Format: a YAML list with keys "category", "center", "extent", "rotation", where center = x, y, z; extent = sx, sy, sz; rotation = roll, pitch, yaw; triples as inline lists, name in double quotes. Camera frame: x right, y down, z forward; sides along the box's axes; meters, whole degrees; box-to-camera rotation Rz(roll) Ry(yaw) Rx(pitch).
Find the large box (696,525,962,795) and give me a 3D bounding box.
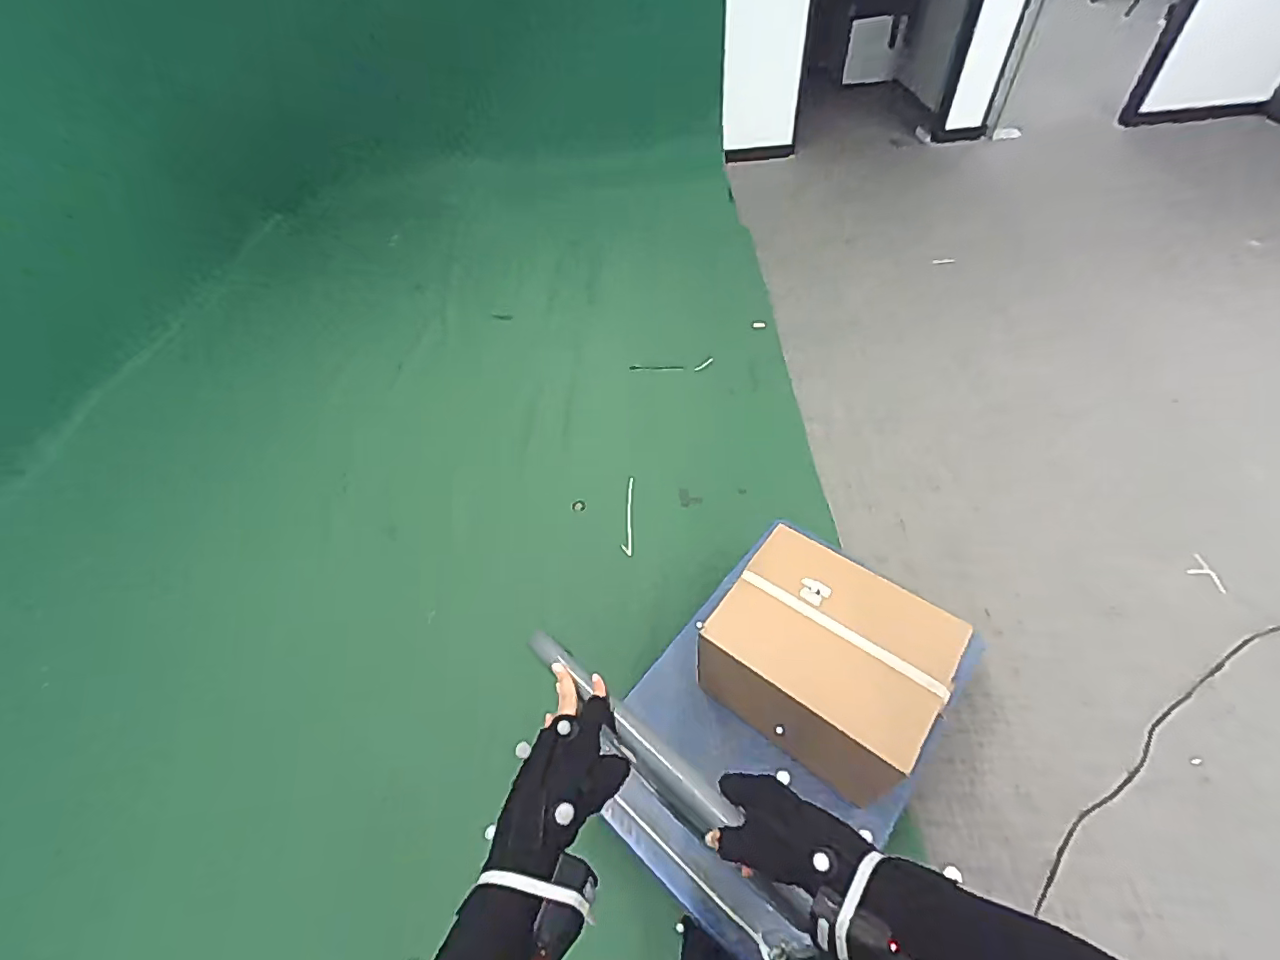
- category: "large box"
  center: [0.369, 0.372, 1.135]
  extent: [0.408, 0.320, 0.320]
  rotation: [29, 58, 27]
